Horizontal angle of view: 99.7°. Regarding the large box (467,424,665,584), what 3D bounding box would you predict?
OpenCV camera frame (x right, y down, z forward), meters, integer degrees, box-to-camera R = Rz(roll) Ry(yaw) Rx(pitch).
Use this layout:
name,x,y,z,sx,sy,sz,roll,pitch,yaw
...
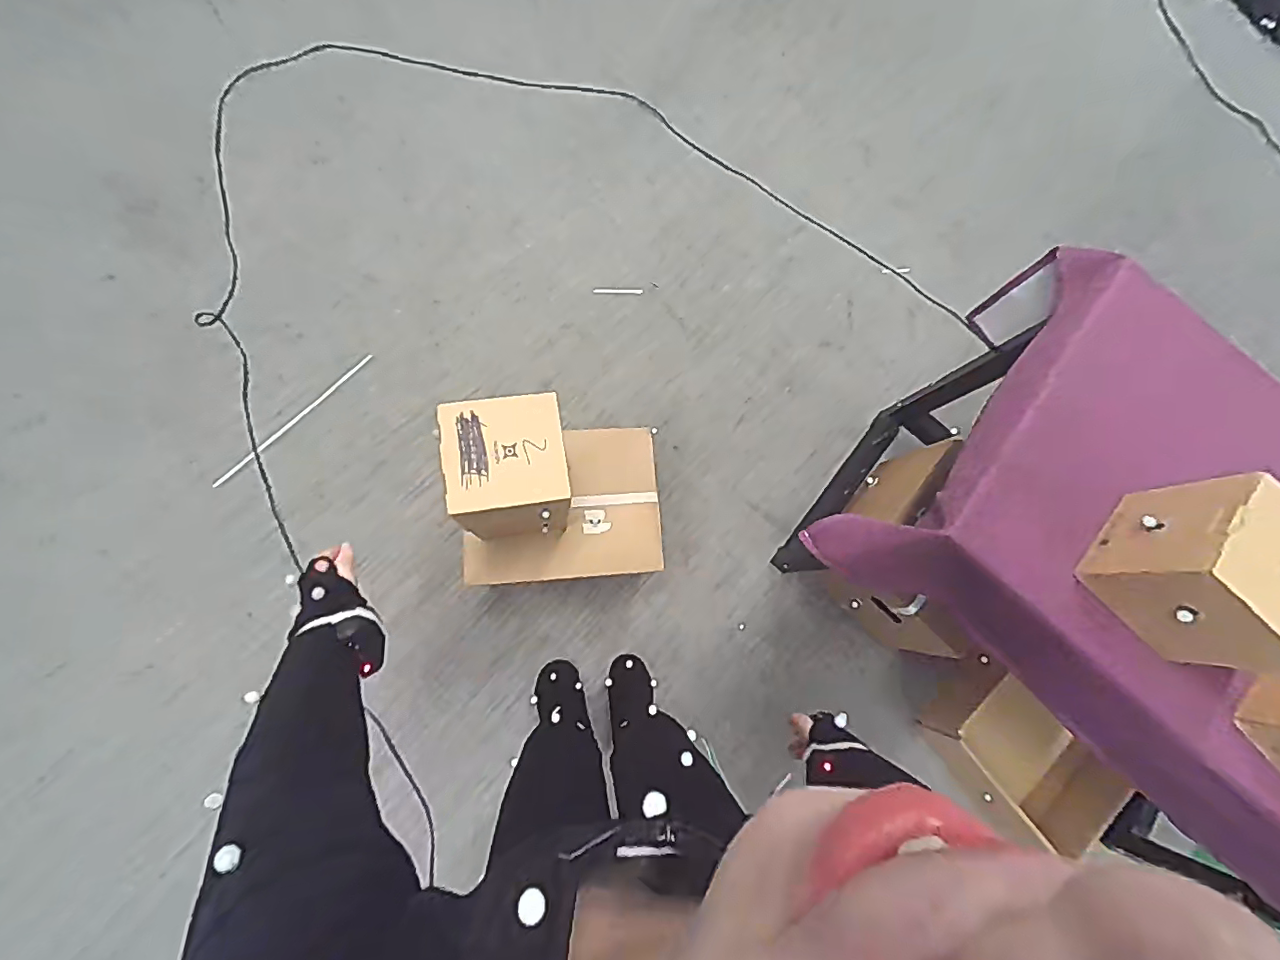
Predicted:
name,x,y,z,sx,sy,sz,roll,pitch,yaw
large box,-0.180,0.068,1.264,0.408,0.320,0.320,-3,81,-9

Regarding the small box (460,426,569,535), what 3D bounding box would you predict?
name,x,y,z,sx,sy,sz,roll,pitch,yaw
small box,-0.230,0.006,1.017,0.179,0.176,0.168,-7,79,-9

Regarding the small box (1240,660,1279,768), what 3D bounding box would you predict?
name,x,y,z,sx,sy,sz,roll,pitch,yaw
small box,0.954,0.319,0.695,0.179,0.176,0.168,-41,87,-12

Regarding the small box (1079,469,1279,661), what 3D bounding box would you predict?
name,x,y,z,sx,sy,sz,roll,pitch,yaw
small box,0.736,0.116,0.701,0.179,0.176,0.168,44,77,3
